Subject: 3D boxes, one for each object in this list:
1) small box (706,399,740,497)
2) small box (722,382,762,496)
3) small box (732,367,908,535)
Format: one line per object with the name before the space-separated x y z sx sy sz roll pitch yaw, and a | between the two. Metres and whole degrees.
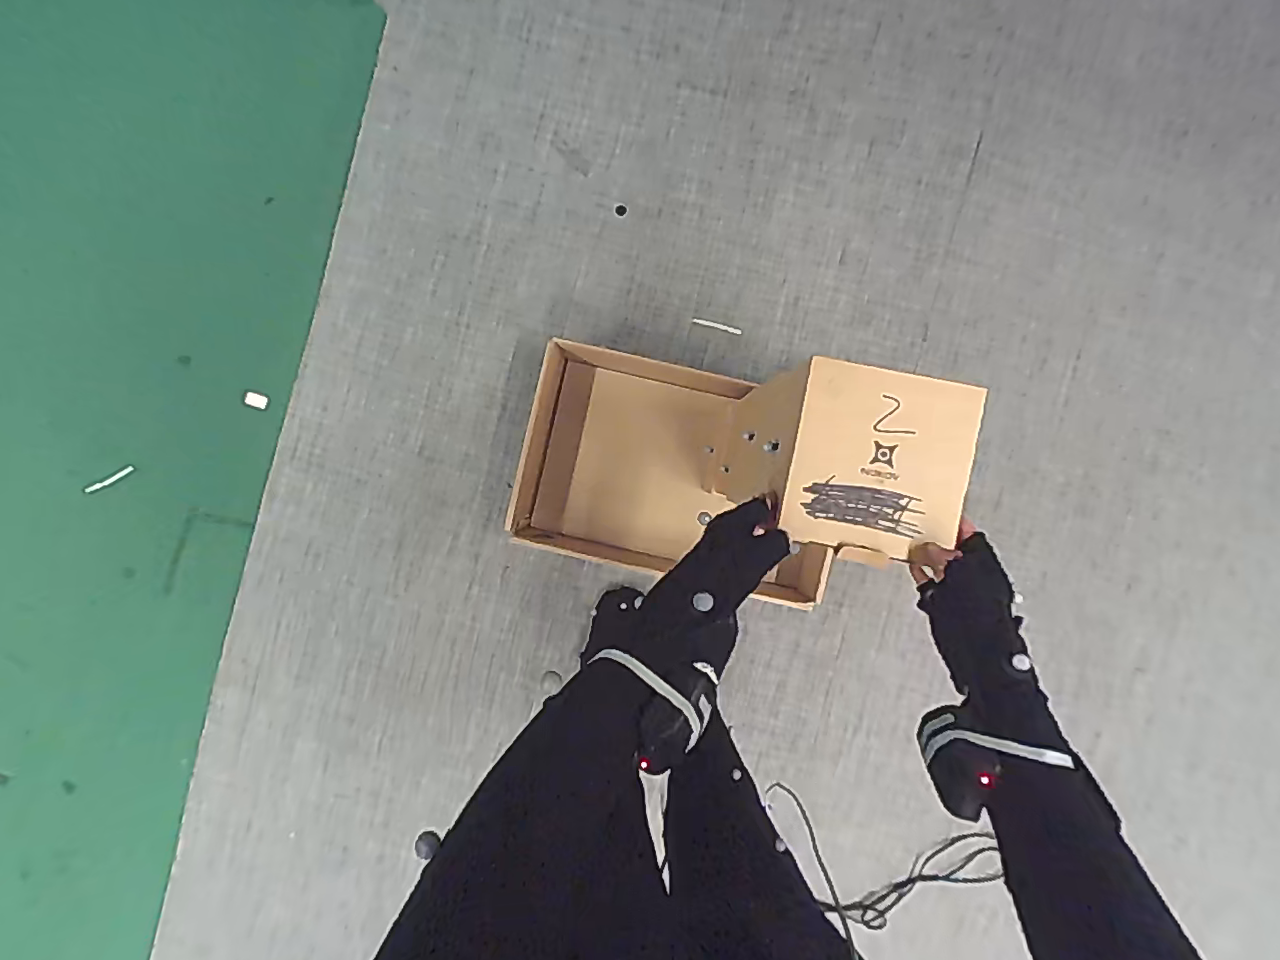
small box | 0.226 -0.053 1.072 0.168 0.176 0.179 9 91 2
small box | 0.237 -0.047 0.890 0.168 0.176 0.179 13 91 1
small box | 0.231 -0.038 0.743 0.168 0.176 0.179 14 91 0
